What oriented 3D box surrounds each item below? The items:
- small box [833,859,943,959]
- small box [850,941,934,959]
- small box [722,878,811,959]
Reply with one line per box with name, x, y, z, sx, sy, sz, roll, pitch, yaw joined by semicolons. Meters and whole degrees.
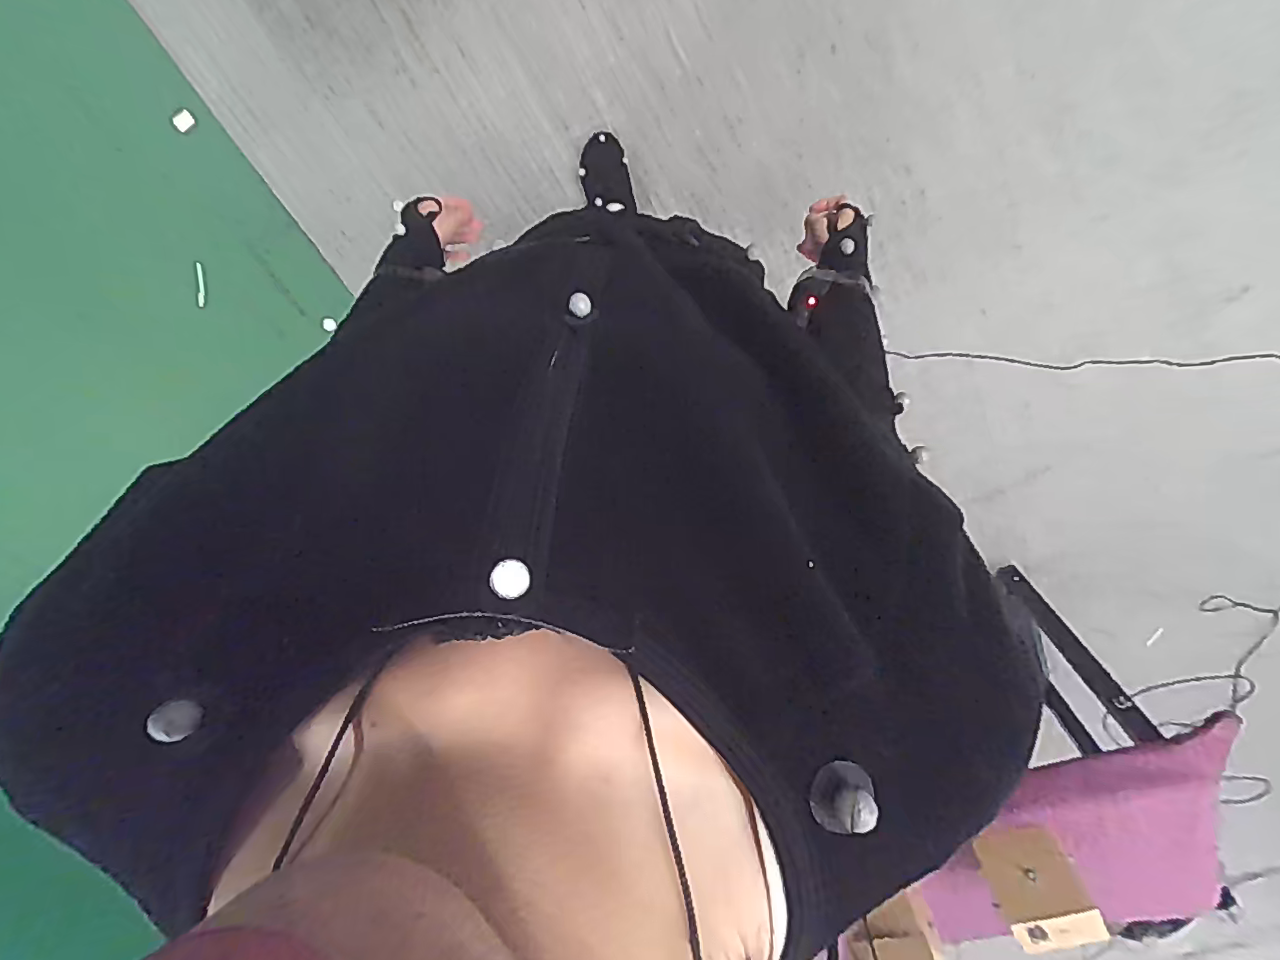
small box;0.589;1.046;1.293;0.168;0.176;0.179;-30;115;17
small box;0.559;1.118;1.145;0.179;0.176;0.168;-17;119;11
small box;0.316;1.146;1.360;0.179;0.176;0.168;-28;115;16
